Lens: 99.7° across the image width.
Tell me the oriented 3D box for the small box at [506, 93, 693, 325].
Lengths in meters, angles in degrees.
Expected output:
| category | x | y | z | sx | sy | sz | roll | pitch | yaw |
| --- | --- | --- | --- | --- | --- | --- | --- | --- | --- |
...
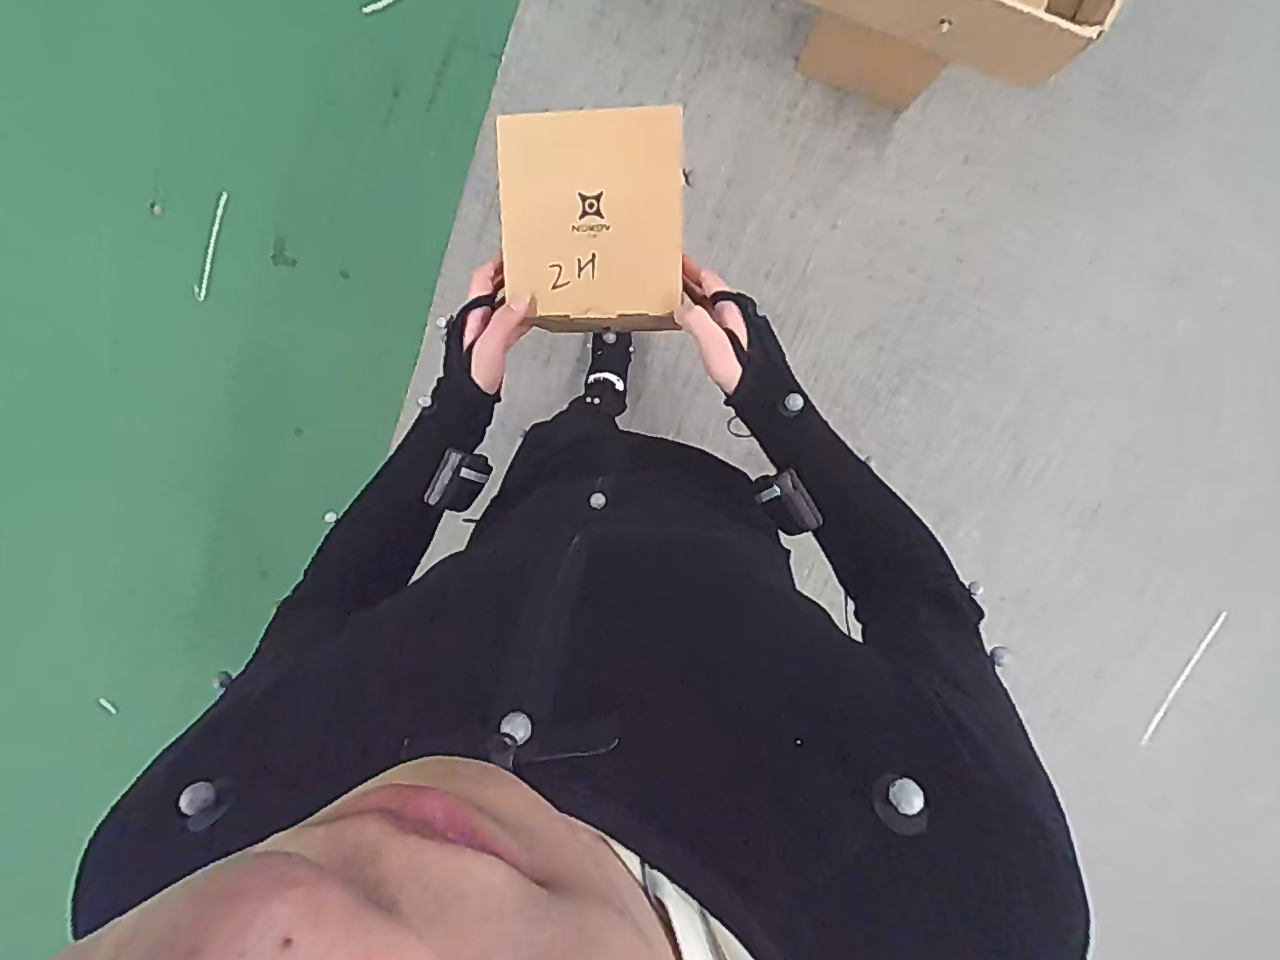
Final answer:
| category | x | y | z | sx | sy | sz | roll | pitch | yaw |
| --- | --- | --- | --- | --- | --- | --- | --- | --- | --- |
| small box | -0.033 | -0.261 | 0.558 | 0.168 | 0.176 | 0.179 | 2 | 101 | 5 |
